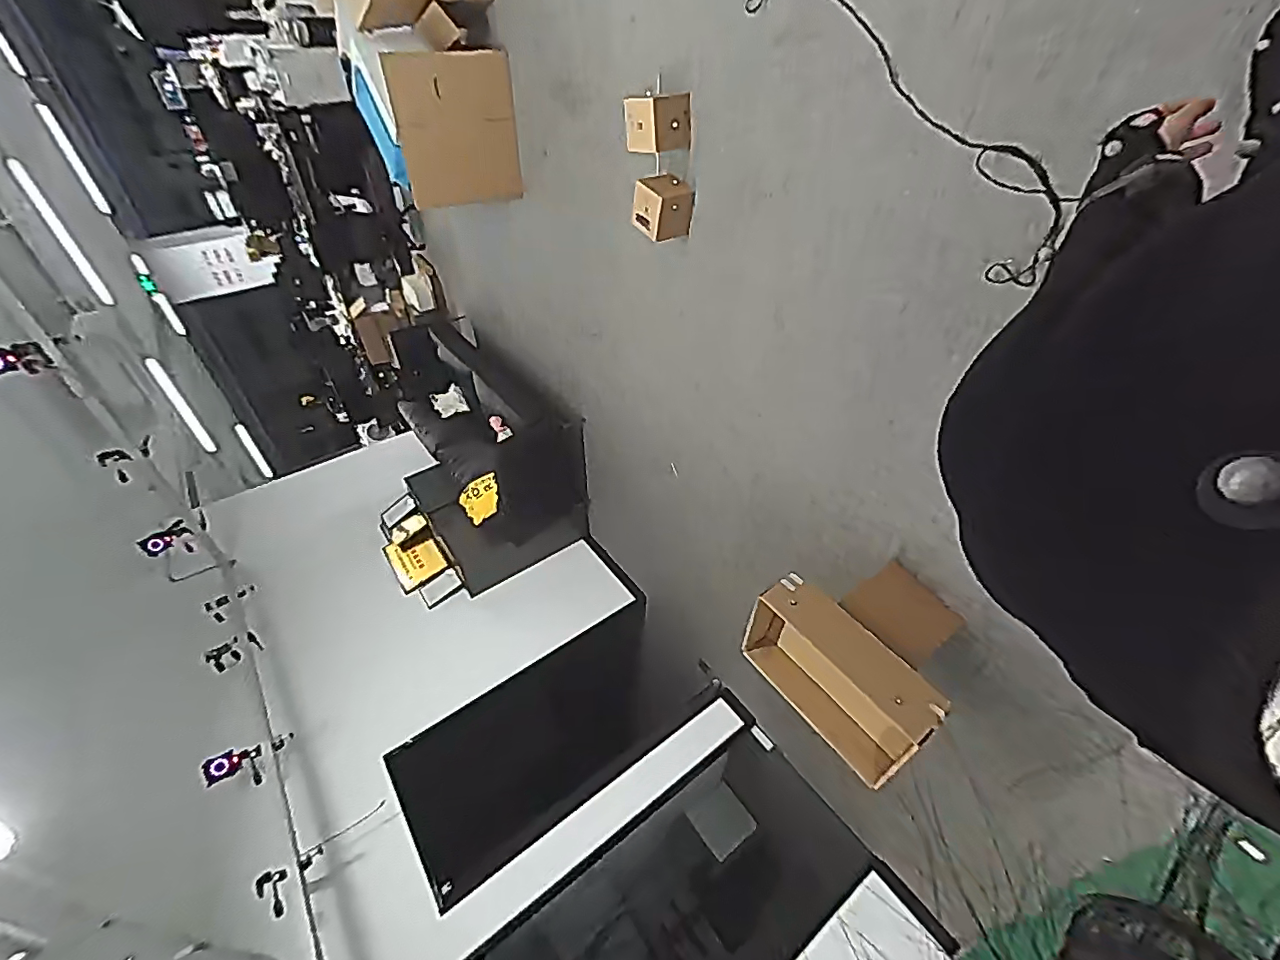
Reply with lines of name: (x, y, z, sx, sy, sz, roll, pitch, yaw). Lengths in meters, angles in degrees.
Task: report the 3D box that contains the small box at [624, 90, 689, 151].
small box: (0.066, -1.309, 1.965, 0.179, 0.176, 0.168, 38, 145, 42)
